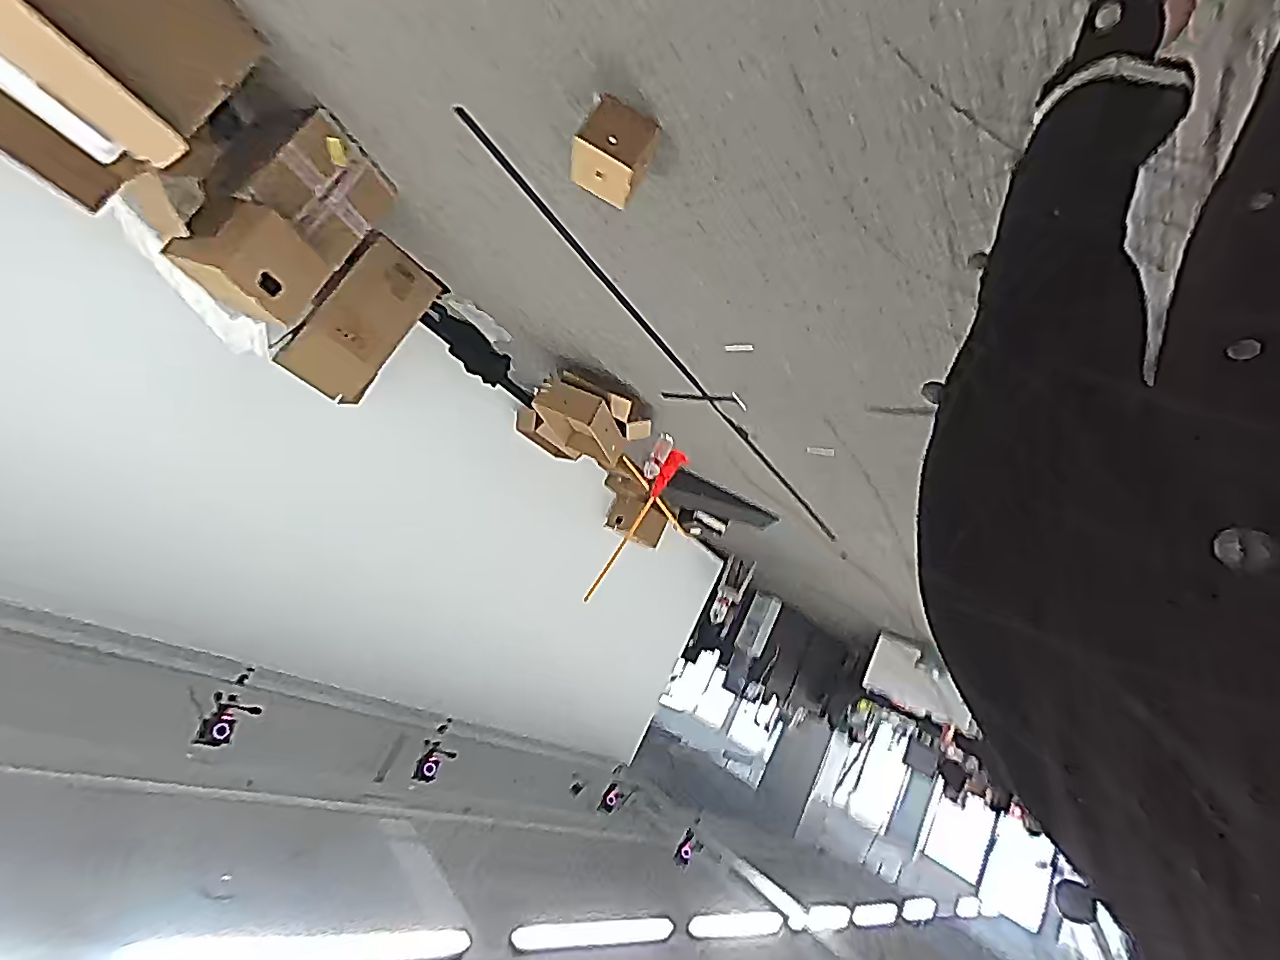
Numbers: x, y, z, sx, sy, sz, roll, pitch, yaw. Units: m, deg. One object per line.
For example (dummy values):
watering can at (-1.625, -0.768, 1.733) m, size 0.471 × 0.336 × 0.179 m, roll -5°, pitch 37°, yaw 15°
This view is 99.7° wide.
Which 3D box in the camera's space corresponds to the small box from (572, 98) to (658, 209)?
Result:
small box at (-0.069, -0.910, 1.507) m, size 0.179 × 0.176 × 0.168 m, roll 30°, pitch 165°, yaw -3°
